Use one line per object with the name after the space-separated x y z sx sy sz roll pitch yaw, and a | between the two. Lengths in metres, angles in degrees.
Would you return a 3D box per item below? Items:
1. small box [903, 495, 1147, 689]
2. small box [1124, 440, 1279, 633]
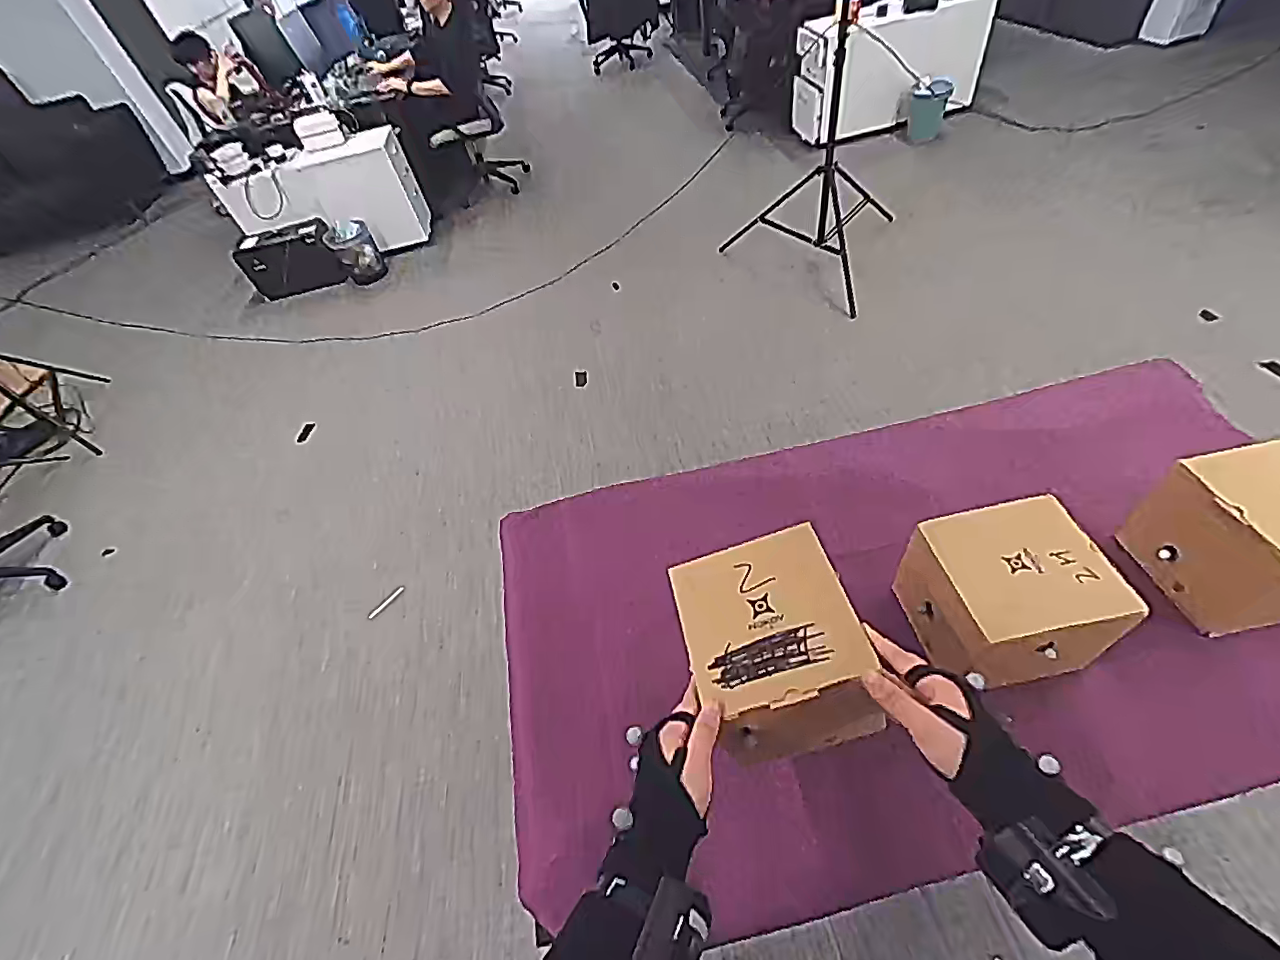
0.456 0.147 0.684 0.179 0.176 0.168 -12 49 2 | small box
0.783 0.070 0.679 0.179 0.176 0.168 -13 48 3 | small box
